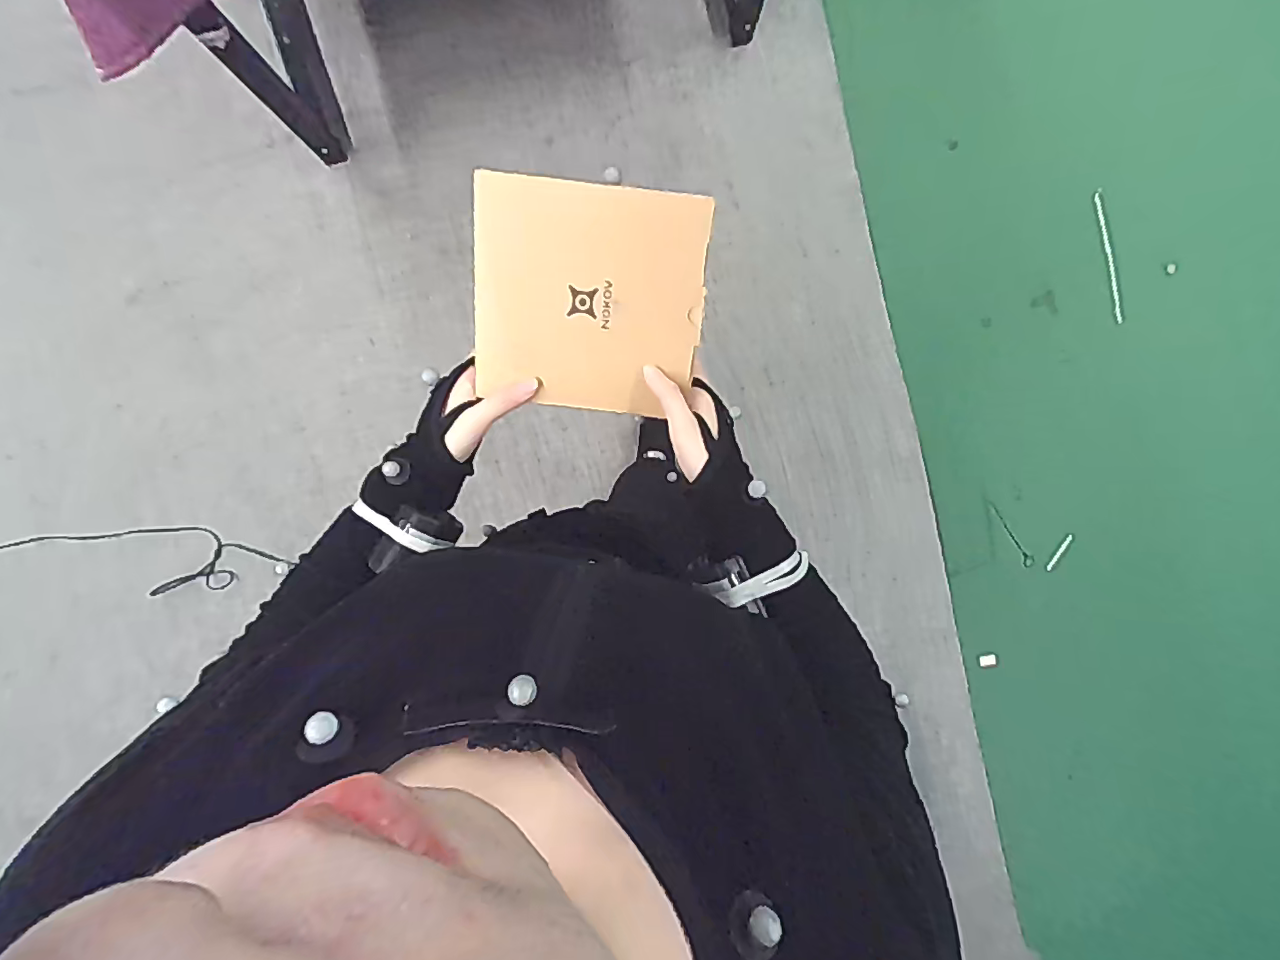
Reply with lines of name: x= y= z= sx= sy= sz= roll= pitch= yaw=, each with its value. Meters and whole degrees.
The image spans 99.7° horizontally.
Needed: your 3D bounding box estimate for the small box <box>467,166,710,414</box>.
small box: x=-0.043 y=-0.165 z=0.488 sx=0.179 sy=0.176 sz=0.168 roll=6 pitch=110 yaw=-2
